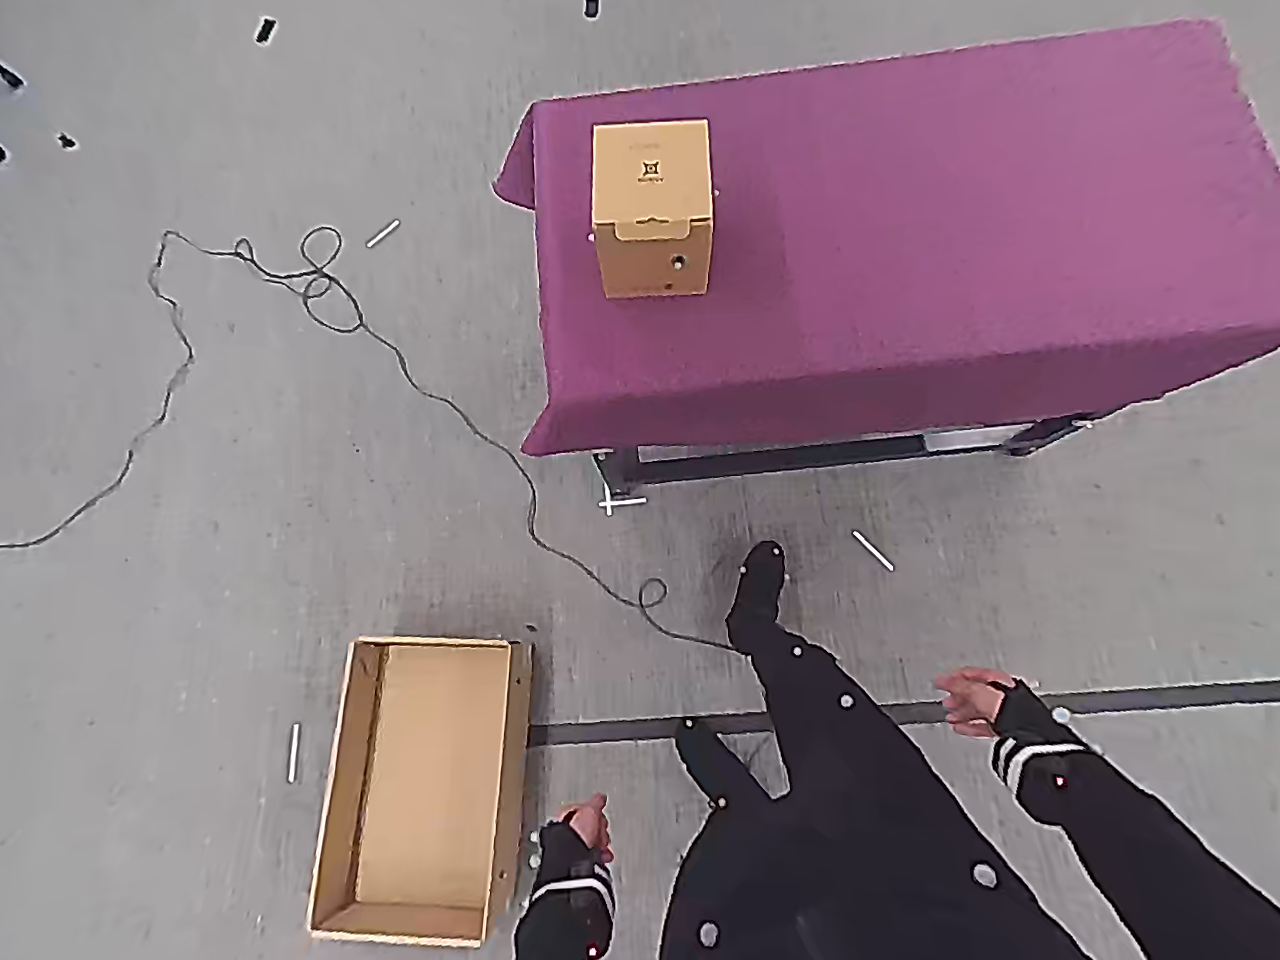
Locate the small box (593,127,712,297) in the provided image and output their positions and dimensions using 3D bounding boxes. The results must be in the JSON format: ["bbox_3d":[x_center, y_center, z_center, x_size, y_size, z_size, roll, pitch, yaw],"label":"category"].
[{"bbox_3d":[0.022,-0.398,0.830,0.168,0.176,0.179,-1,74,2],"label":"small box"}]
